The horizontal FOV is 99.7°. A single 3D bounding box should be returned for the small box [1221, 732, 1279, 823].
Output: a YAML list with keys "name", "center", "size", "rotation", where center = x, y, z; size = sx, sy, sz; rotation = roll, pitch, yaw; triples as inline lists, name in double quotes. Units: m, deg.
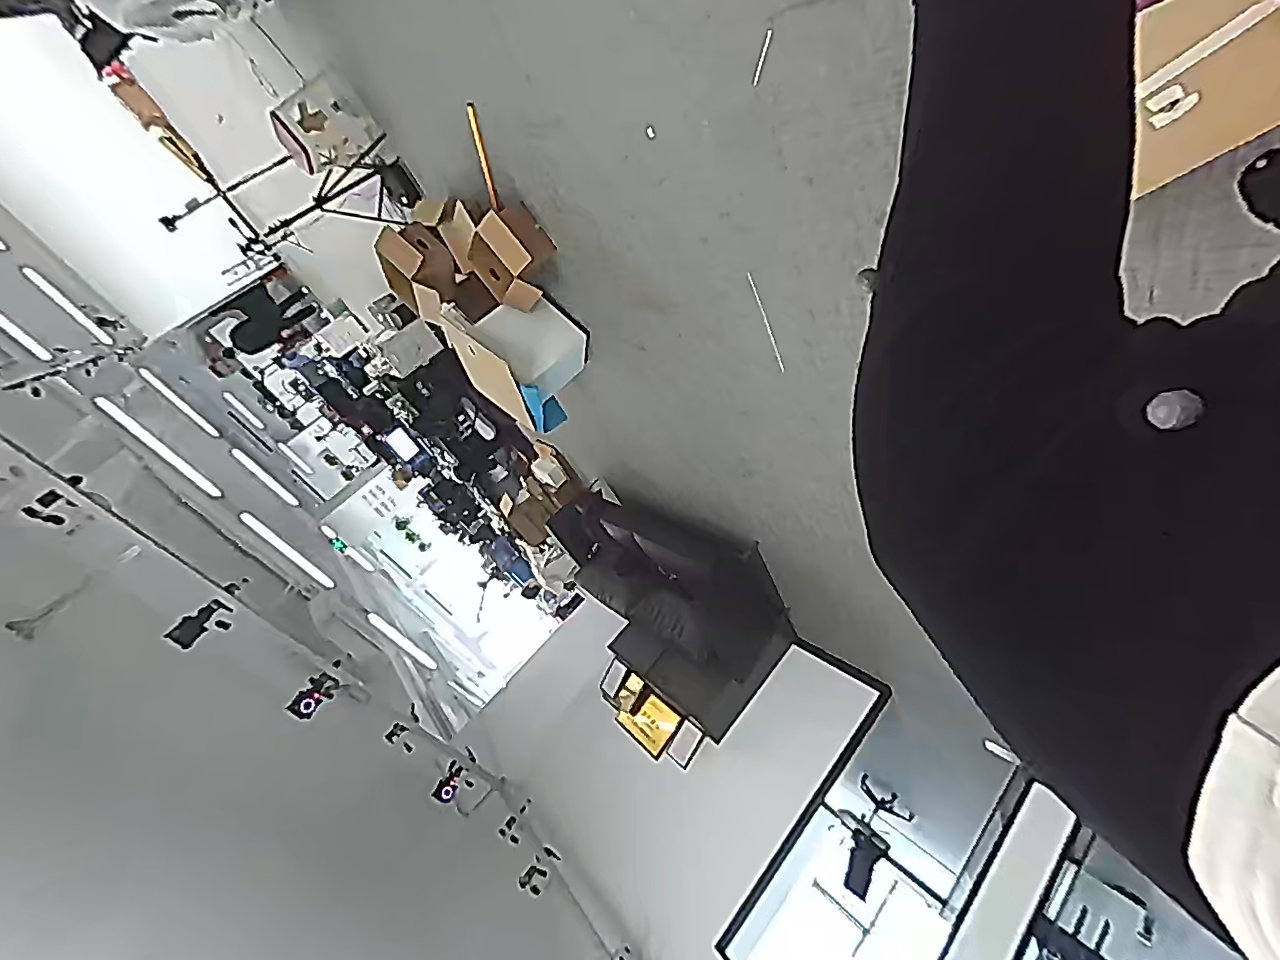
- name: "small box"
  center: [1.898, 0.891, 1.603]
  size: [0.168, 0.176, 0.179]
  rotation: [31, 155, 43]

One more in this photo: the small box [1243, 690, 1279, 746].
- name: "small box"
  center: [2.011, 0.782, 1.648]
  size: [0.168, 0.176, 0.179]
  rotation: [29, 154, 46]
